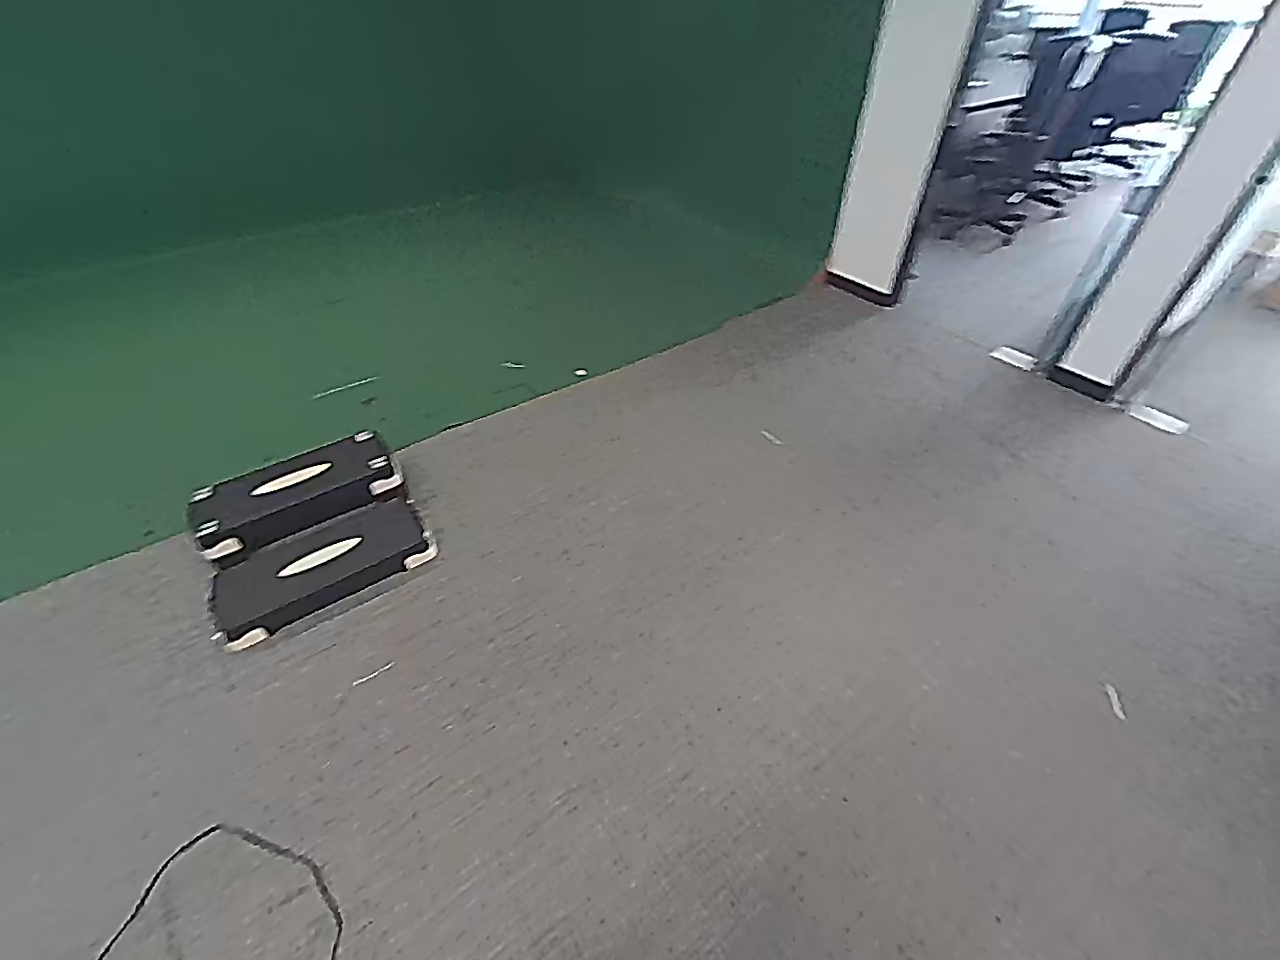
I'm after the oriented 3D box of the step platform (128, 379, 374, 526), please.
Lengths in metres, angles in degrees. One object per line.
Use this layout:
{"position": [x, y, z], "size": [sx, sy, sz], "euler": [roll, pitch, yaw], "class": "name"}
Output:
{"position": [-1.308, -0.110, 1.877], "size": [0.684, 0.204, 0.286], "euler": [-27, 50, -23], "class": "step platform"}
